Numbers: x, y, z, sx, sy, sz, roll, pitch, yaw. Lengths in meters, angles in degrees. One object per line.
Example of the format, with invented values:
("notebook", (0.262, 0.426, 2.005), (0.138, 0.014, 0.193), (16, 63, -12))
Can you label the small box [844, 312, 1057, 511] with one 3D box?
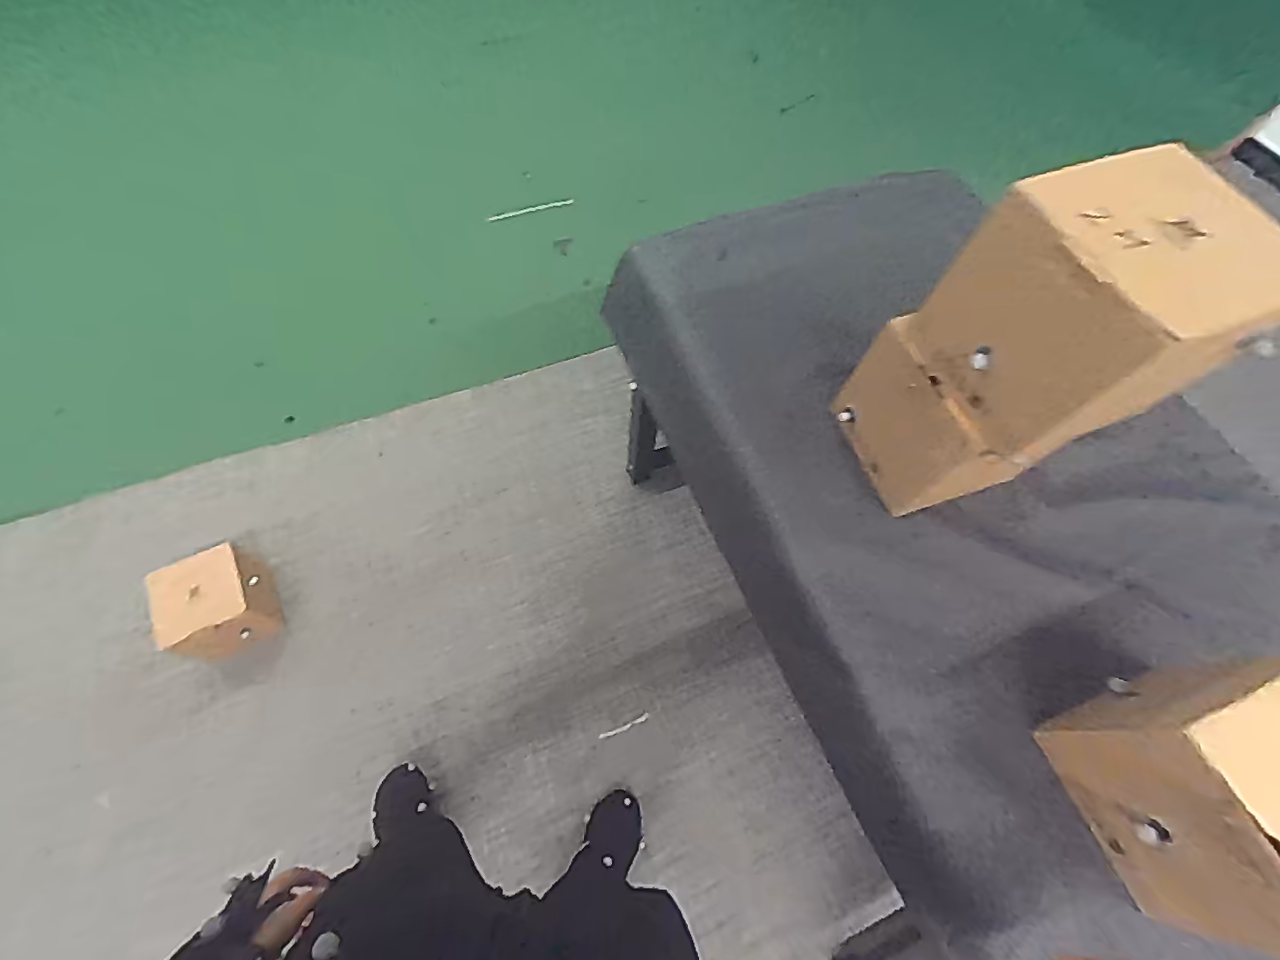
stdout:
("small box", (0.362, -0.082, 0.623), (0.179, 0.176, 0.168), (-15, 66, -12))

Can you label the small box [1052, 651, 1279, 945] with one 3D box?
("small box", (0.507, 0.262, 0.462), (0.179, 0.176, 0.168), (-18, 66, -11))

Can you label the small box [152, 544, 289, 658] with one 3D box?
("small box", (-0.909, 0.273, 1.186), (0.168, 0.176, 0.179), (-25, 67, -16))

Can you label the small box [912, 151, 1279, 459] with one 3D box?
("small box", (0.385, -0.143, 0.471), (0.179, 0.176, 0.168), (-18, 66, -12))
